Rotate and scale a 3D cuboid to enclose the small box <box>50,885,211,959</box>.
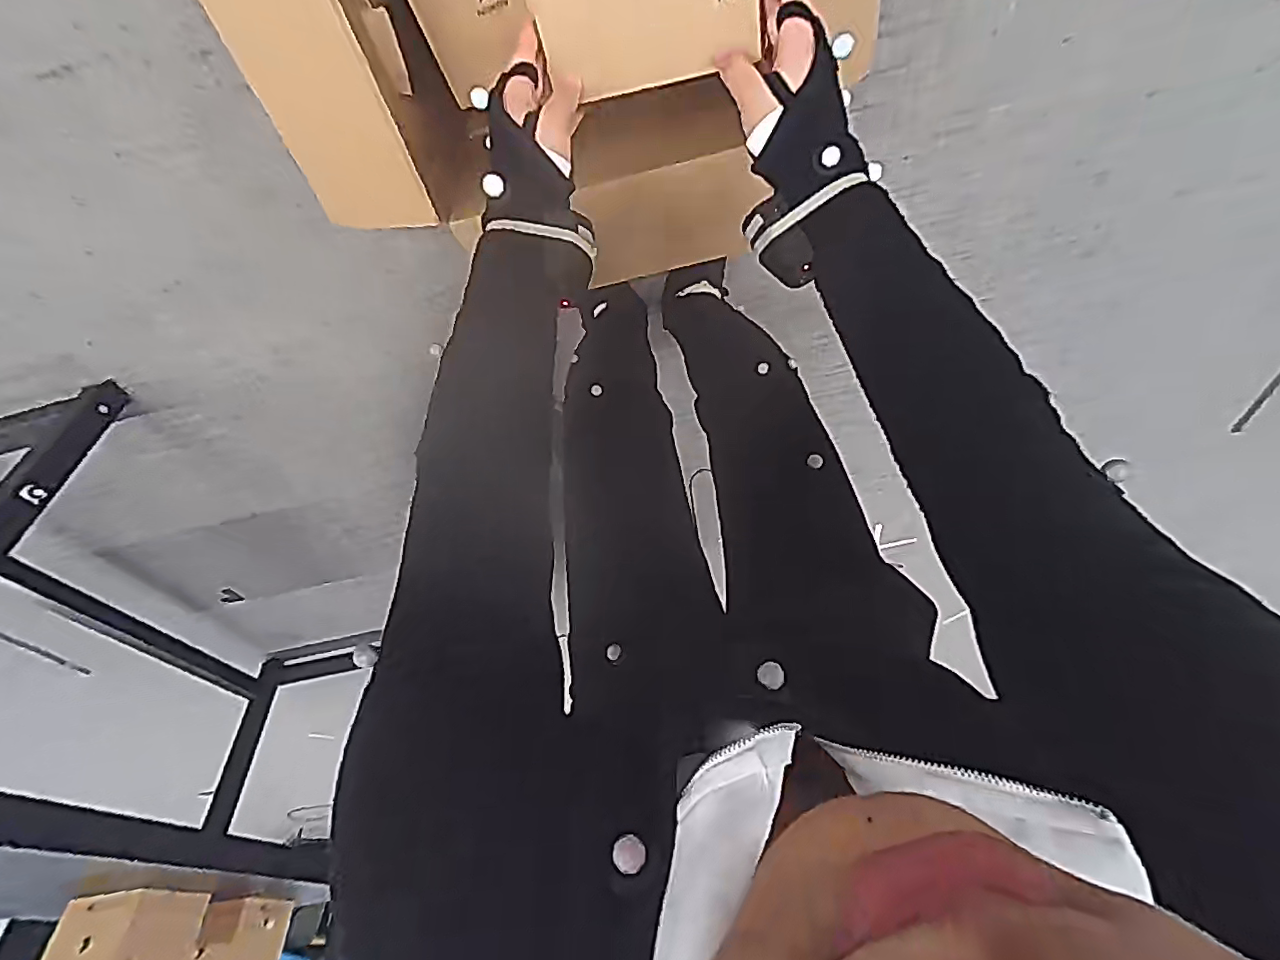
[{"bbox_3d":[-1.033,0.932,1.089,0.168,0.176,0.179,-12,138,6],"label":"small box"}]

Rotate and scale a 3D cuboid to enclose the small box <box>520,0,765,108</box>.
[{"bbox_3d":[0.005,-0.437,0.447,0.179,0.176,0.168,0,136,18],"label":"small box"}]

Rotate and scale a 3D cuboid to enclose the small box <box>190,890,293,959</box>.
[{"bbox_3d":[-0.977,1.101,1.289,0.179,0.176,0.168,-14,138,6],"label":"small box"}]
